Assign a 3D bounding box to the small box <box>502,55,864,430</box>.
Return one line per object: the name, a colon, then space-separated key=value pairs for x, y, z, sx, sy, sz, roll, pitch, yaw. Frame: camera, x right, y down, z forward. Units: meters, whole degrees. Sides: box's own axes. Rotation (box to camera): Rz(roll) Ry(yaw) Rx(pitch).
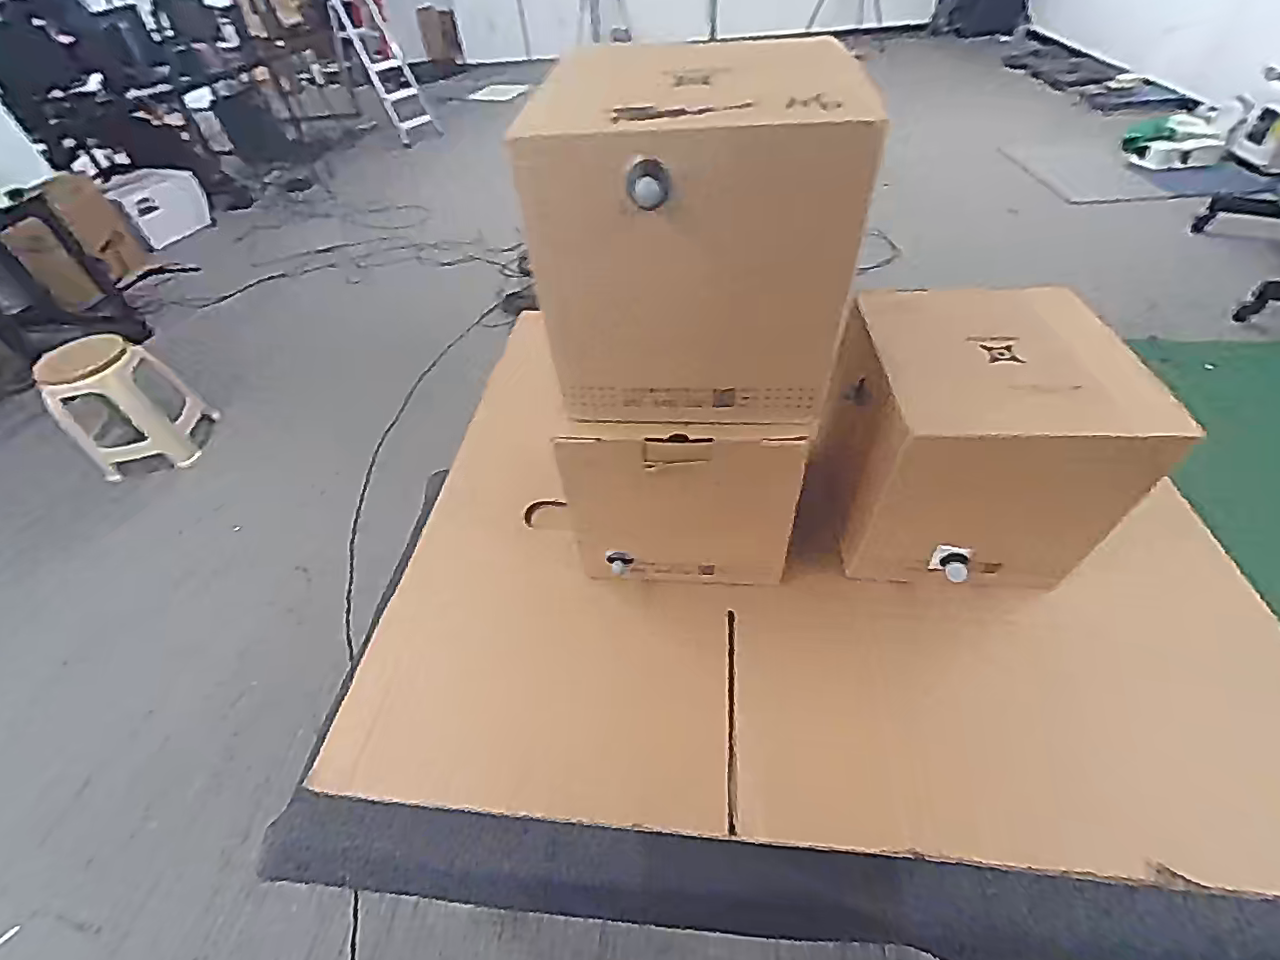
small box: x=0.030 y=-0.154 z=0.354 sx=0.168 sy=0.176 sz=0.179 roll=1 pitch=47 yaw=7
